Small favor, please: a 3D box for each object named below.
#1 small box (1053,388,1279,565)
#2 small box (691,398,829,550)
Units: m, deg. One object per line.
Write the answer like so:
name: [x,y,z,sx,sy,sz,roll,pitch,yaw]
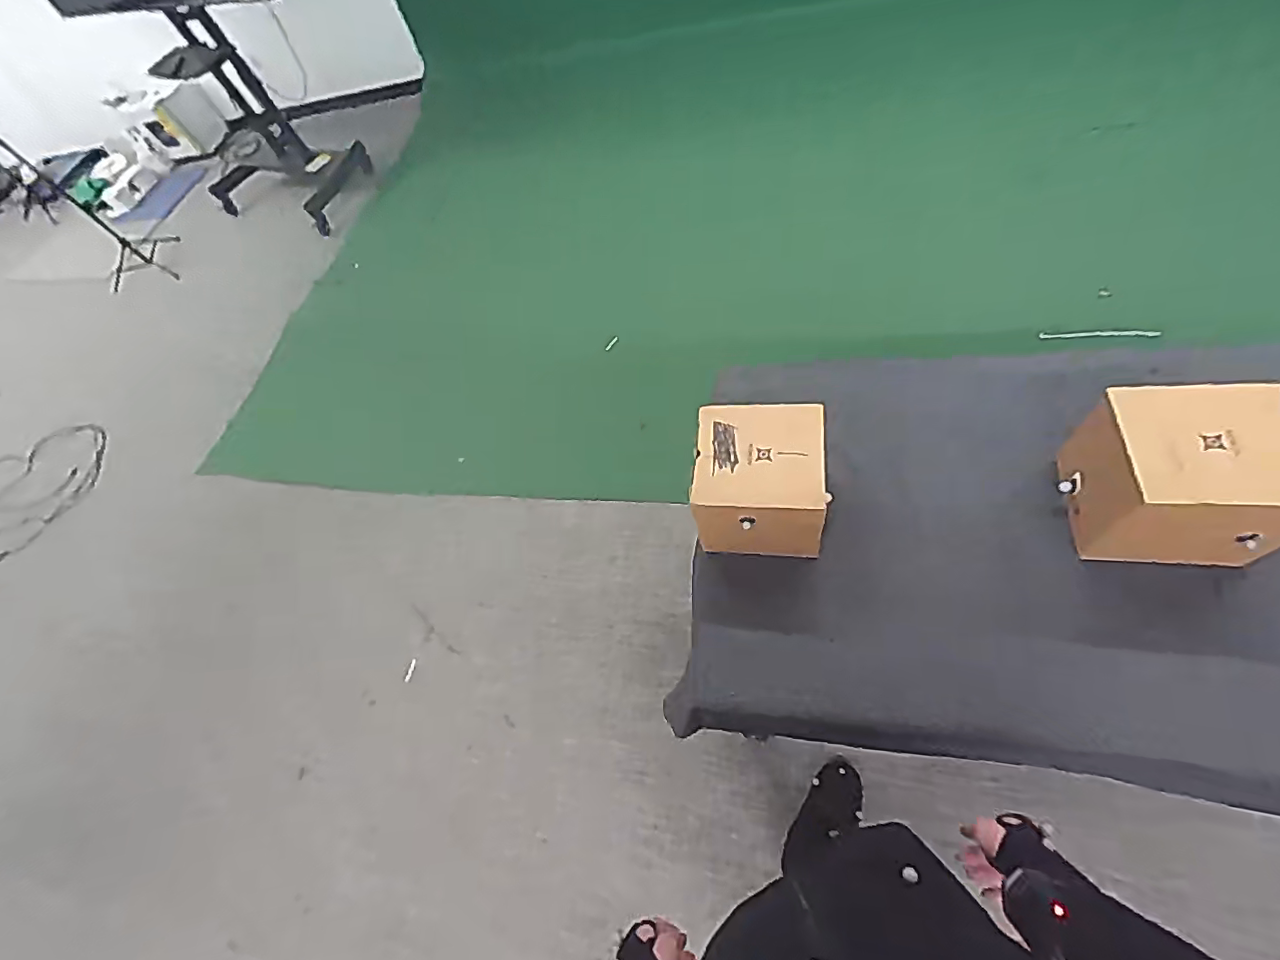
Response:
small box: [0.670,0.001,0.681,0.179,0.176,0.168,1,61,15]
small box: [0.179,-0.004,0.796,0.179,0.176,0.168,3,62,13]
